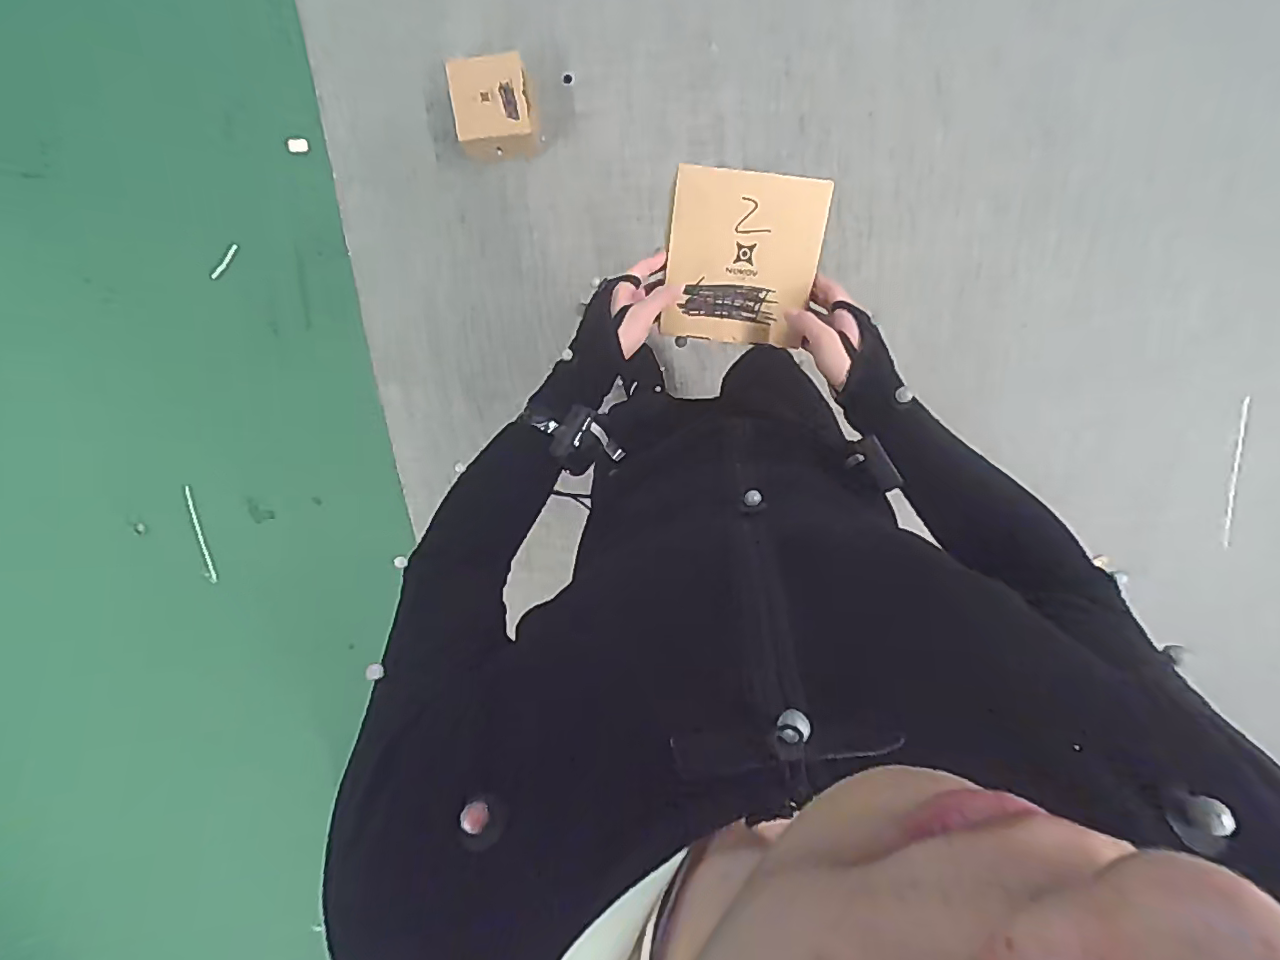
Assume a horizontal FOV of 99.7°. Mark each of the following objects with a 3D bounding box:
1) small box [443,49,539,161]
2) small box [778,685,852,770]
[{"bbox_3d":[-0.347,-0.892,1.300,0.179,0.176,0.168,-6,104,2],"label":"small box"},{"bbox_3d":[0.555,0.781,1.730,0.168,0.176,0.179,-15,104,3],"label":"small box"}]
